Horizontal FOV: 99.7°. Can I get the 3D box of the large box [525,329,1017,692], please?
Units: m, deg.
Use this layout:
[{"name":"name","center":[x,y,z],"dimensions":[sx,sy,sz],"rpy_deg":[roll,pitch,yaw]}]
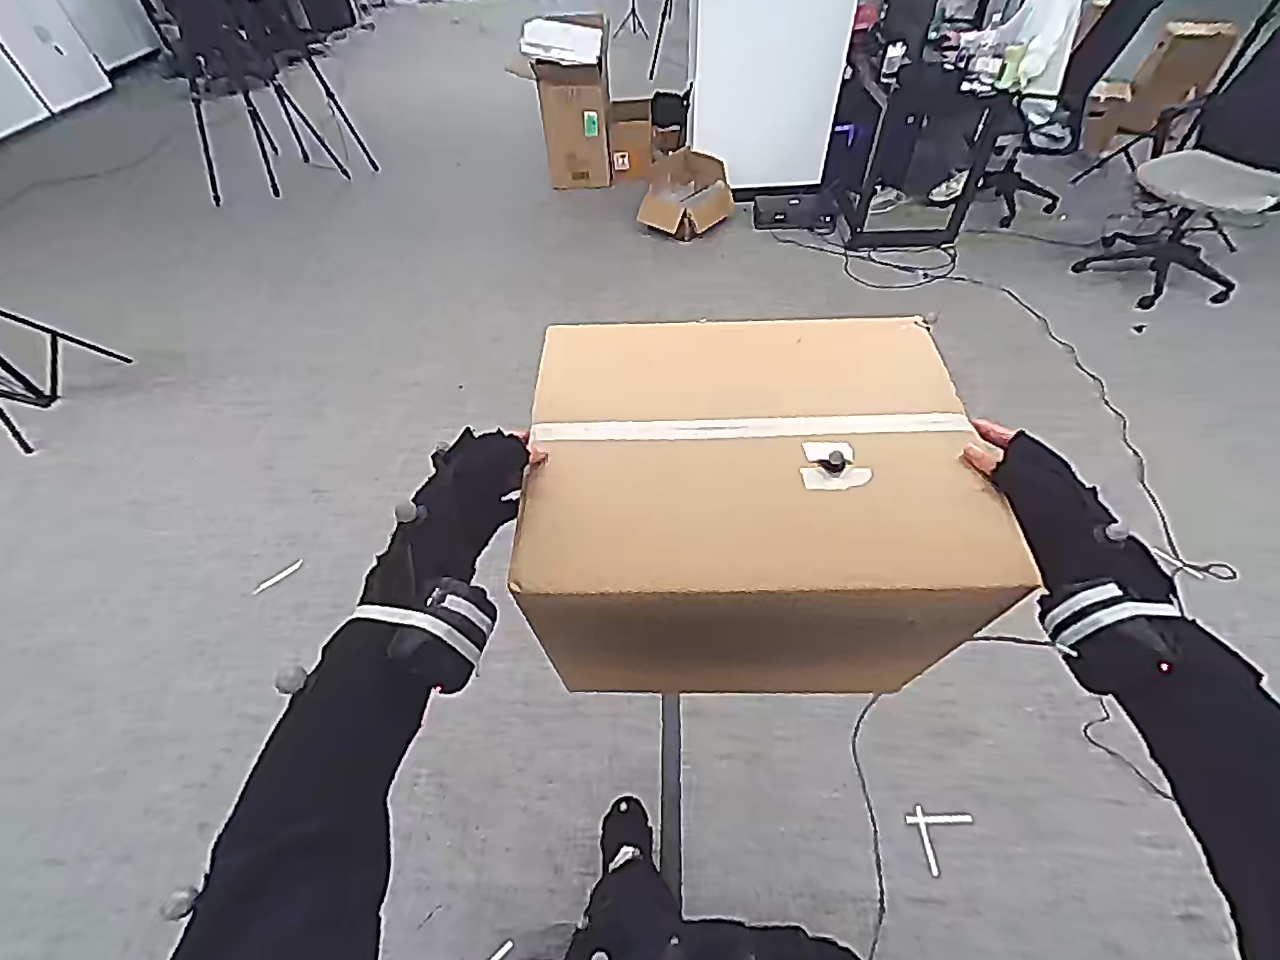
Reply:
[{"name":"large box","center":[0.104,0.048,0.637],"dimensions":[0.408,0.320,0.320],"rpy_deg":[-1,55,1]}]
